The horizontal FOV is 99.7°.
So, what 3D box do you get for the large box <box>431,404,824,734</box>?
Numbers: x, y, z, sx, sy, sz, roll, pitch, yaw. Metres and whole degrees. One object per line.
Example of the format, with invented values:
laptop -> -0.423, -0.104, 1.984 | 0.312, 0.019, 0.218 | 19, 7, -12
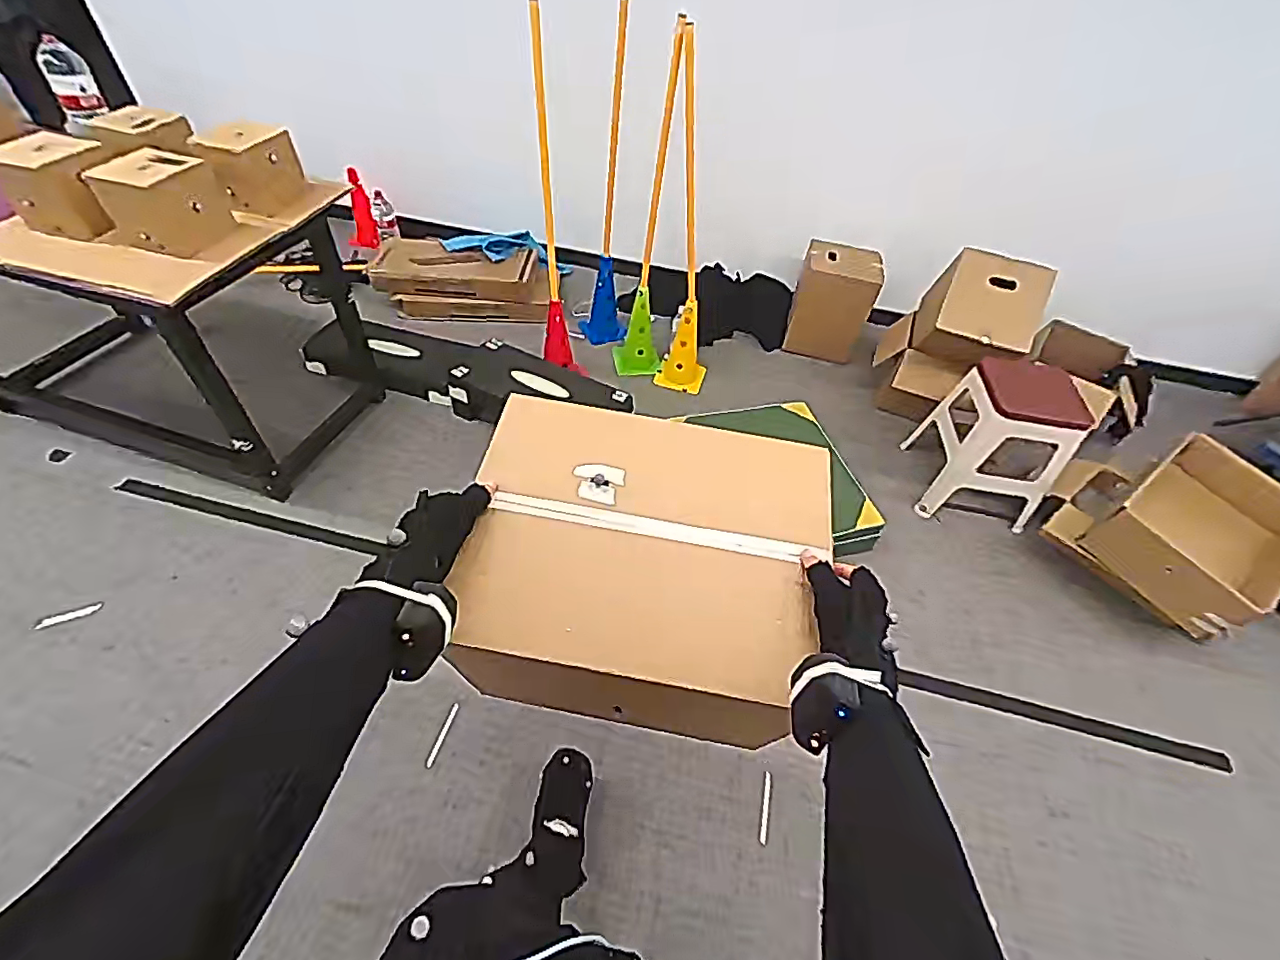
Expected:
large box -> 0.002, 0.137, 0.739 | 0.408, 0.320, 0.320 | 10, 58, 3
